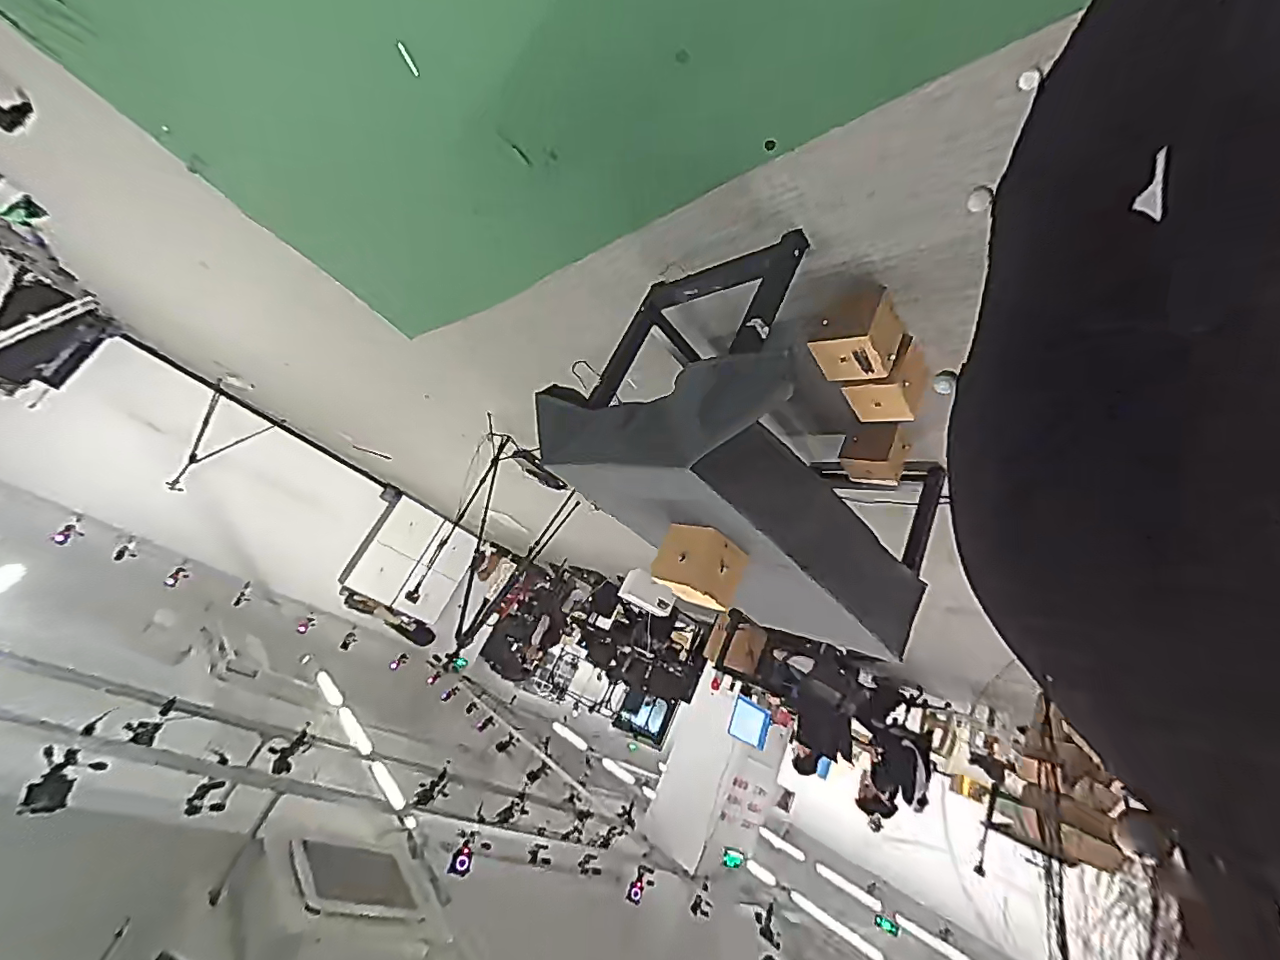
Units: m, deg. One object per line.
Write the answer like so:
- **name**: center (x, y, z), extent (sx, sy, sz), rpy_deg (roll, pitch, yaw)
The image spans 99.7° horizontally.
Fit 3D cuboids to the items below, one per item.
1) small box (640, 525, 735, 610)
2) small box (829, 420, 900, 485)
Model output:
- **small box**: center (0.136, 0.231, 1.461), extent (0.168, 0.176, 0.179), rpy_deg (38, 157, -33)
- **small box**: center (0.815, -0.103, 1.959), extent (0.179, 0.176, 0.168), rpy_deg (8, 155, 42)
